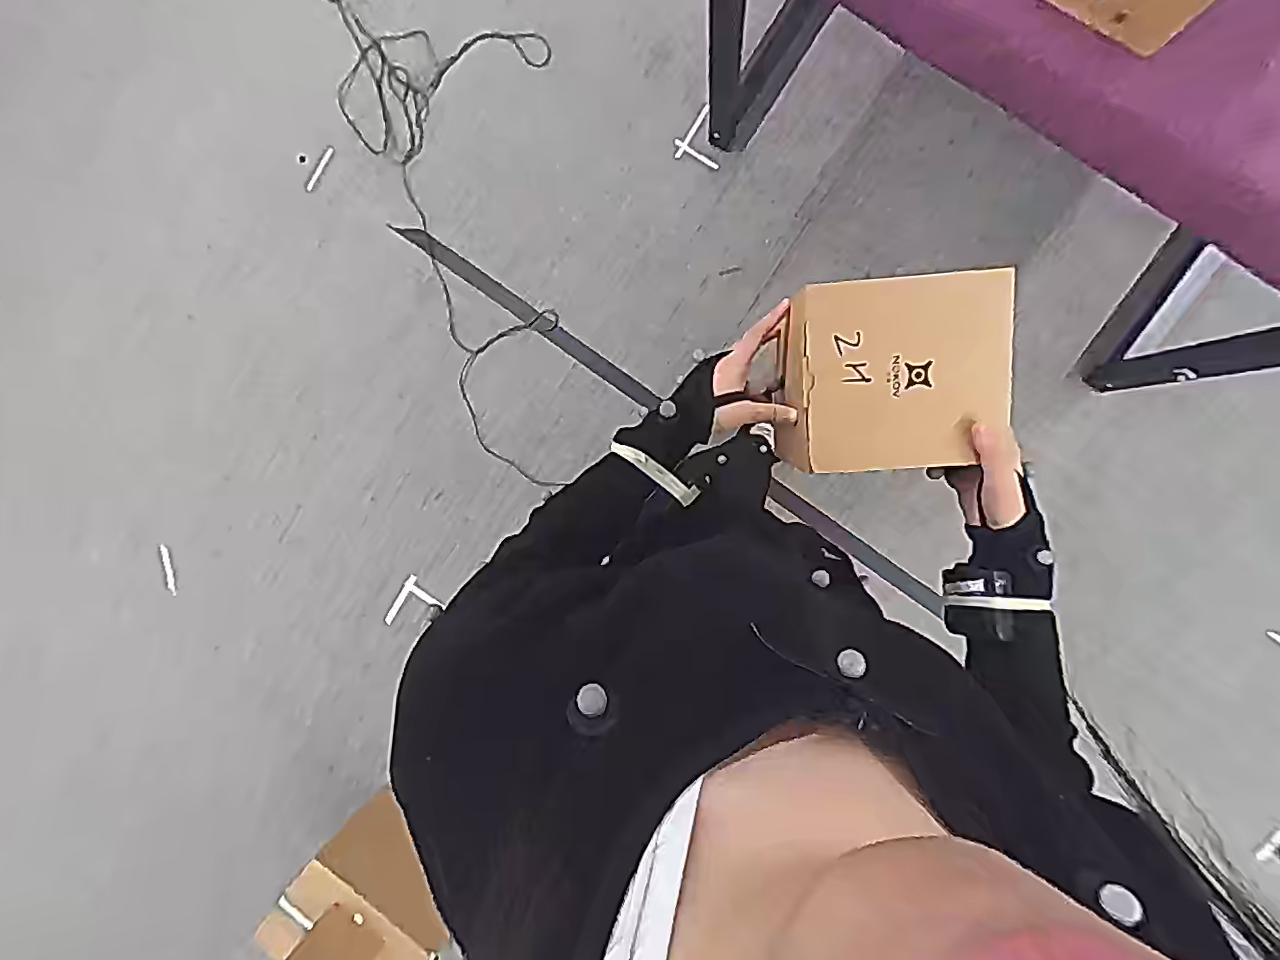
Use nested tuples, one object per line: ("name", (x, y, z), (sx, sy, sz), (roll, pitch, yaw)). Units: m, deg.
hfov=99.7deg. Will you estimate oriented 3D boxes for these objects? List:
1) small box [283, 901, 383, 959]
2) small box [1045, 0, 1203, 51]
("small box", (-0.762, 1.179, 1.301), (0.179, 0.176, 0.168), (35, 96, 4))
("small box", (0.588, -0.632, 0.581), (0.168, 0.176, 0.179), (34, 96, 4))
